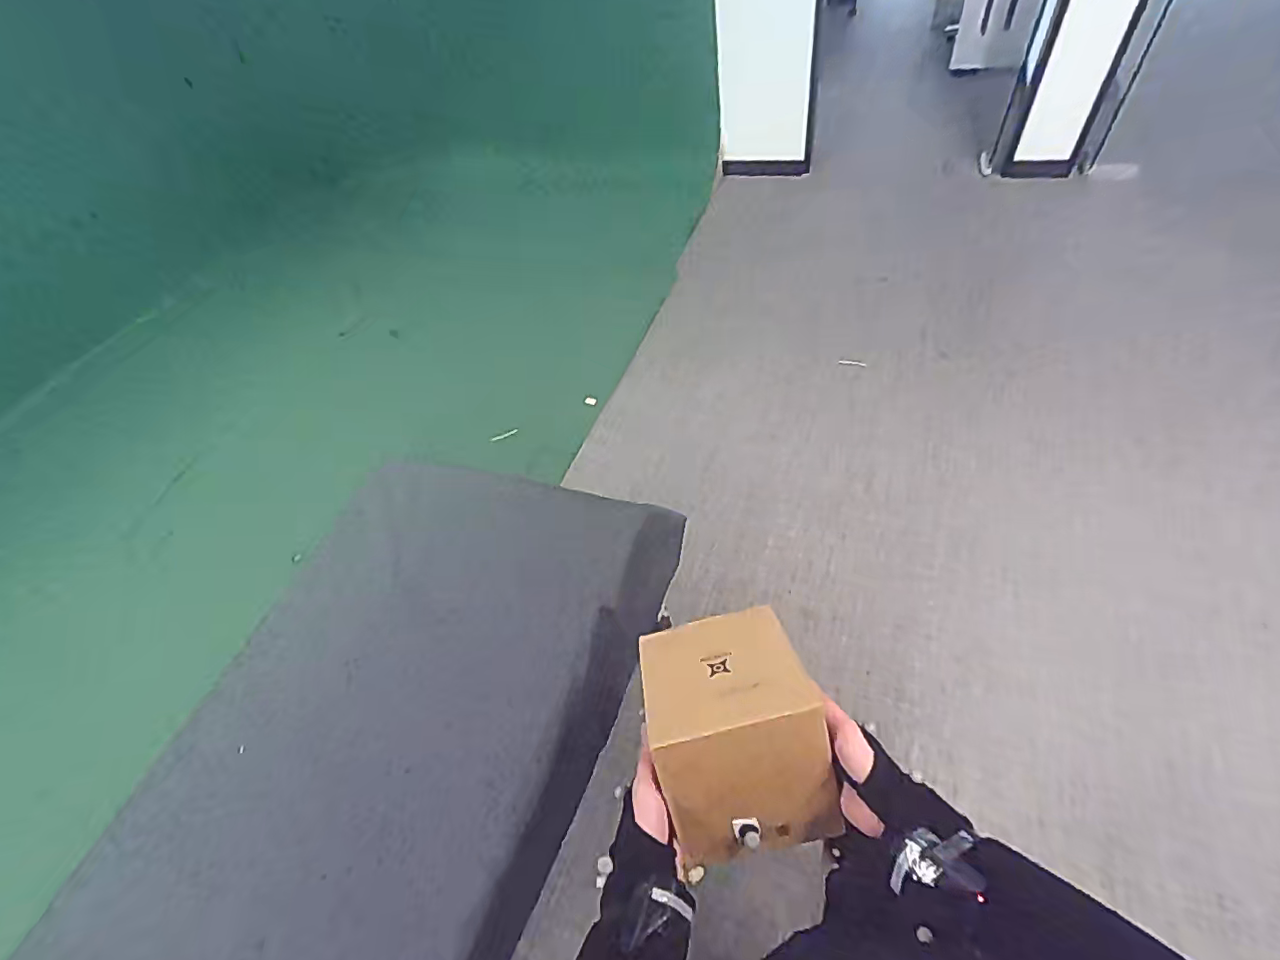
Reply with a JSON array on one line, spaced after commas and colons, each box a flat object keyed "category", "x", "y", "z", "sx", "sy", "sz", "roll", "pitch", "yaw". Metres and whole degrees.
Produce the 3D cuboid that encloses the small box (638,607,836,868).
[{"category": "small box", "x": 0.098, "y": 0.271, "z": 0.593, "sx": 0.168, "sy": 0.176, "sz": 0.179, "roll": -14, "pitch": 20, "yaw": 1}]
